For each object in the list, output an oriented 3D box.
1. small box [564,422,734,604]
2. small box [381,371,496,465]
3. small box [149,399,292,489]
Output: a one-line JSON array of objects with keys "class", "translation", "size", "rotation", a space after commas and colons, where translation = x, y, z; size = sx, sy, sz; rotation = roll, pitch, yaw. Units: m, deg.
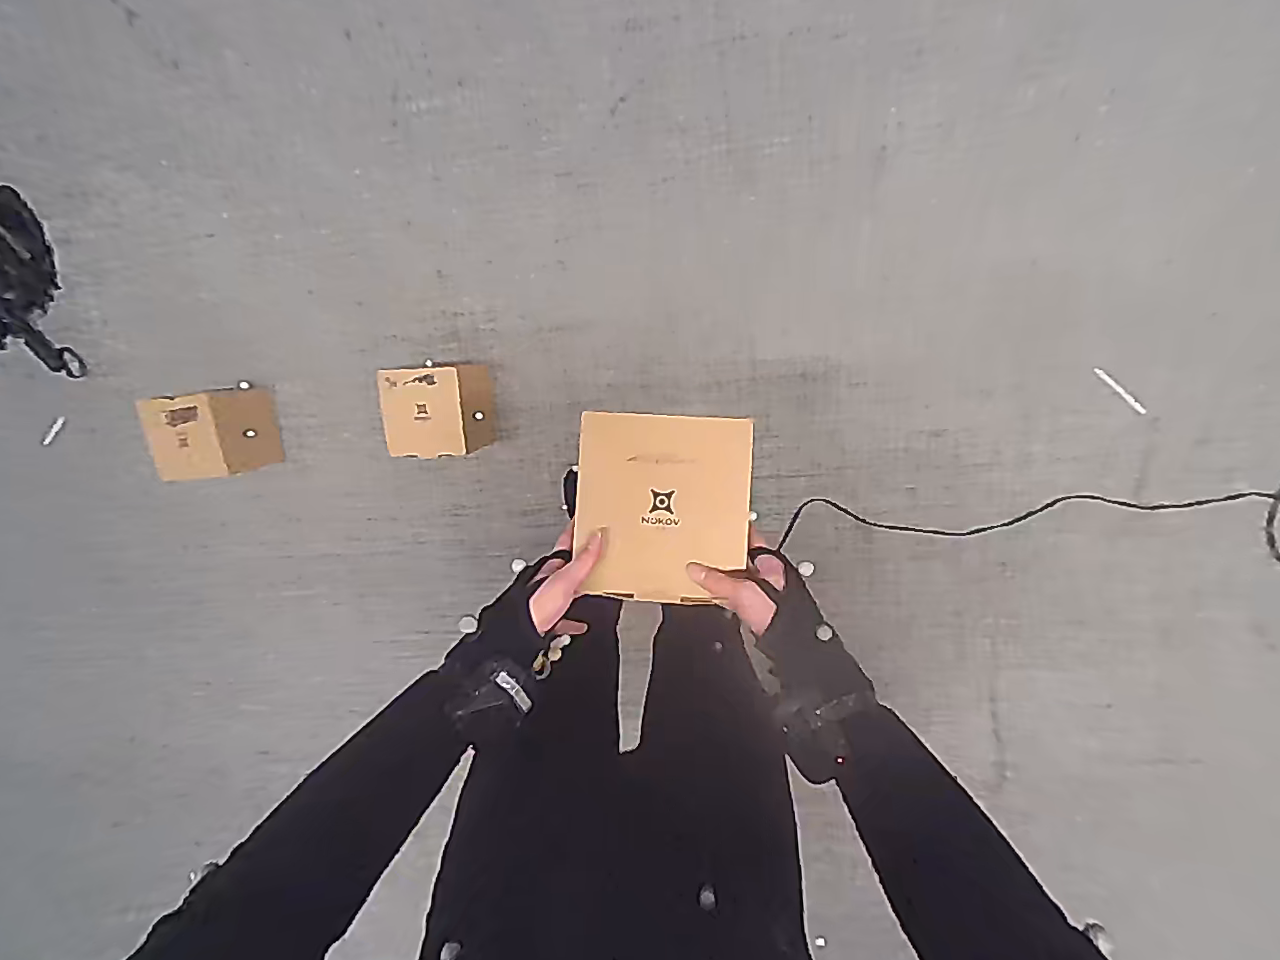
[{"class": "small box", "translation": [0.013, 0.035, 0.609], "size": [0.168, 0.176, 0.179], "rotation": [1, 87, 3]}, {"class": "small box", "translation": [-0.420, -0.137, 1.157], "size": [0.168, 0.176, 0.179], "rotation": [-1, 105, 7]}, {"class": "small box", "translation": [-0.937, -0.089, 1.224], "size": [0.168, 0.176, 0.179], "rotation": [-4, 105, 8]}]
